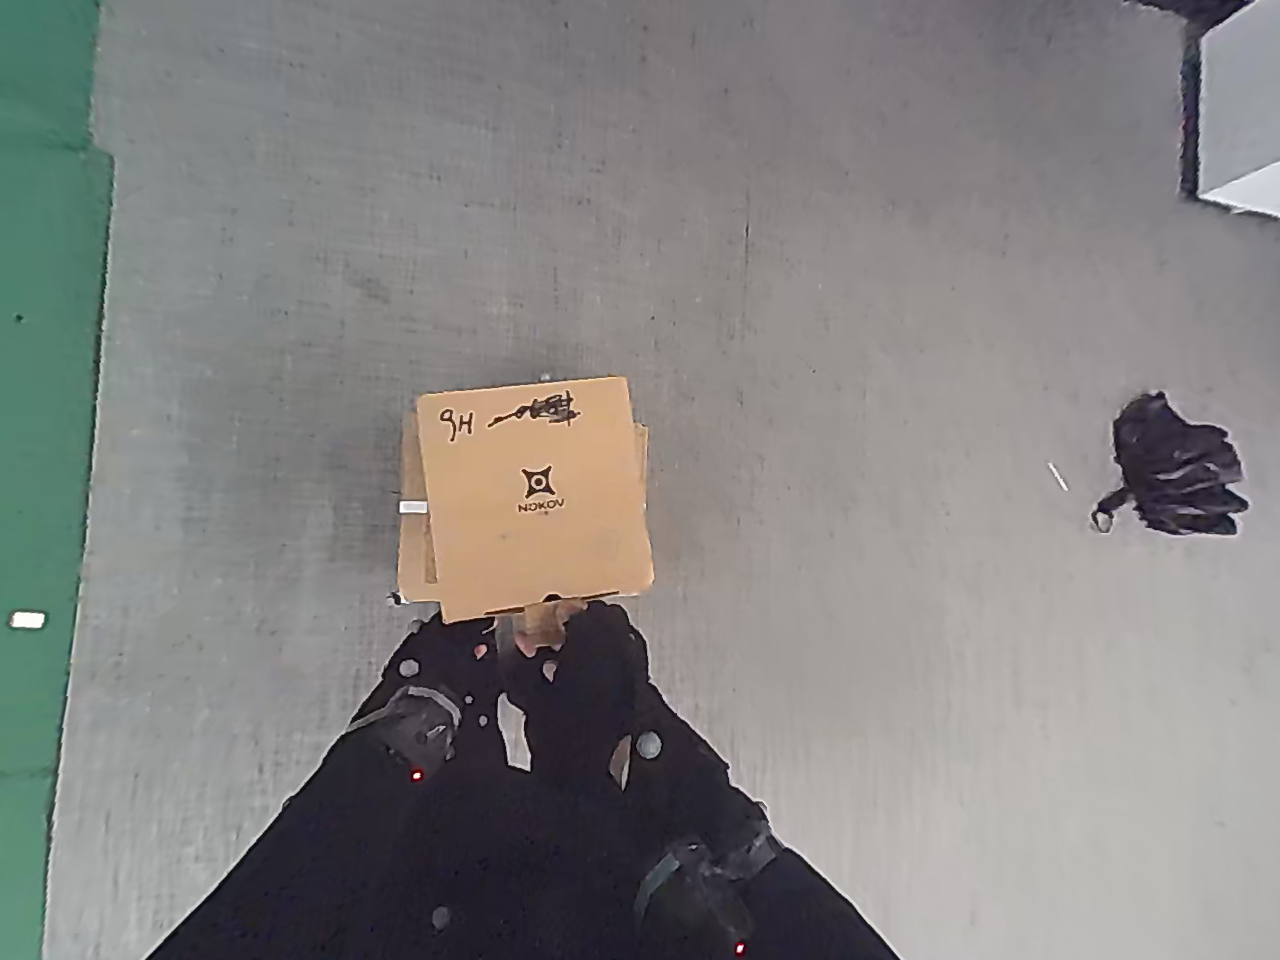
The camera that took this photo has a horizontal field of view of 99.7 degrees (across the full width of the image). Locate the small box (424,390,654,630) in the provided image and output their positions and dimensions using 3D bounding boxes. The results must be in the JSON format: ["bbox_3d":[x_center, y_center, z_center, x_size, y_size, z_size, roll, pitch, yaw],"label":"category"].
[{"bbox_3d":[-0.092,0.024,0.507,0.168,0.176,0.179,-8,87,-12],"label":"small box"}]
